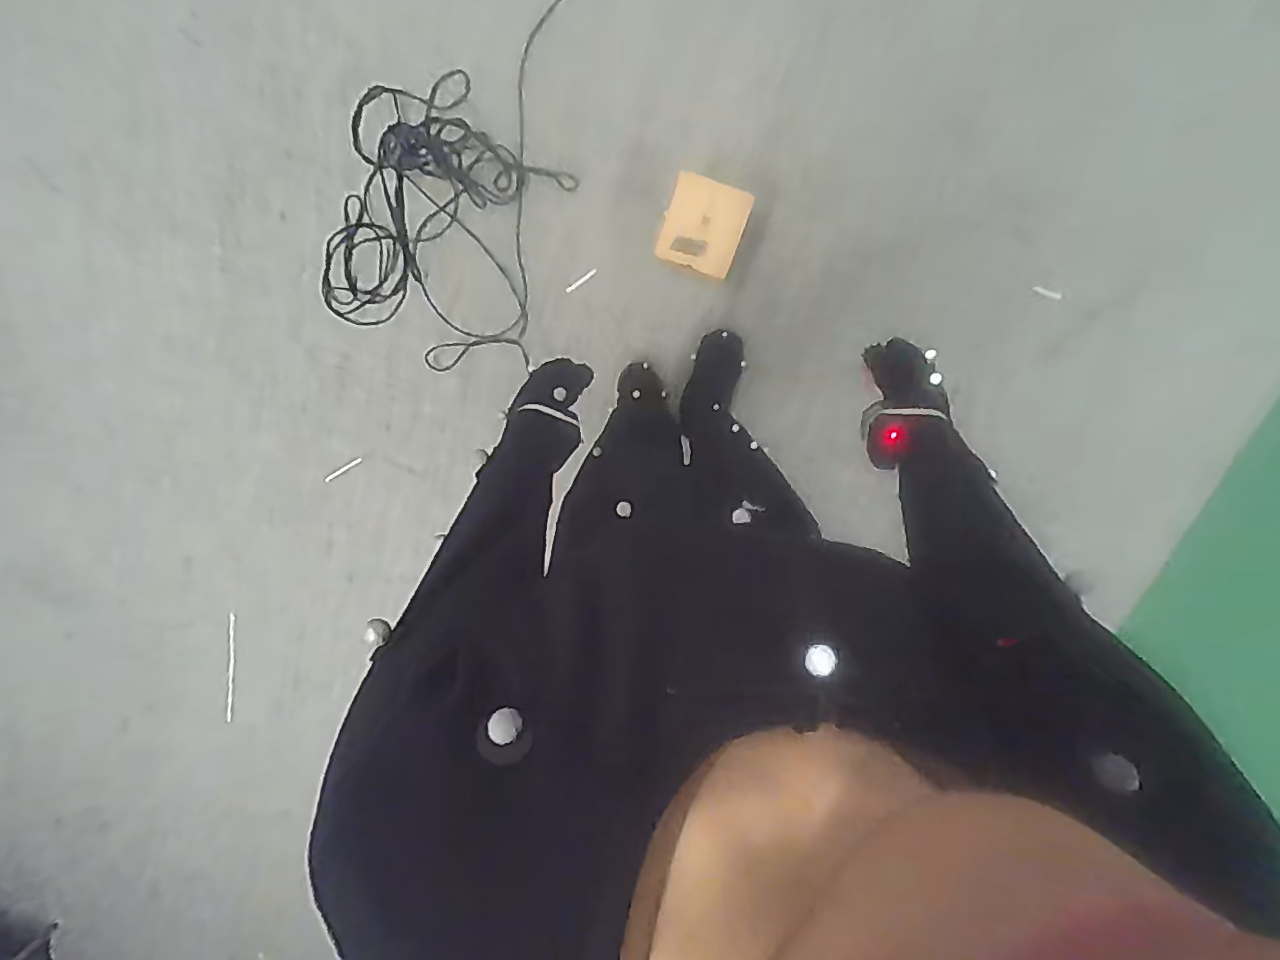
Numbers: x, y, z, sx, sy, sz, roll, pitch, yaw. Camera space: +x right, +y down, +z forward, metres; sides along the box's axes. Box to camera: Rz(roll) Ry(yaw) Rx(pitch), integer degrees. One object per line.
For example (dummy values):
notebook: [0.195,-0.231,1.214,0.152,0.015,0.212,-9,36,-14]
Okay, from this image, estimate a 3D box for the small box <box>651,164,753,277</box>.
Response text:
small box: [0.137,-0.565,1.206,0.168,0.176,0.179,20,109,-1]
